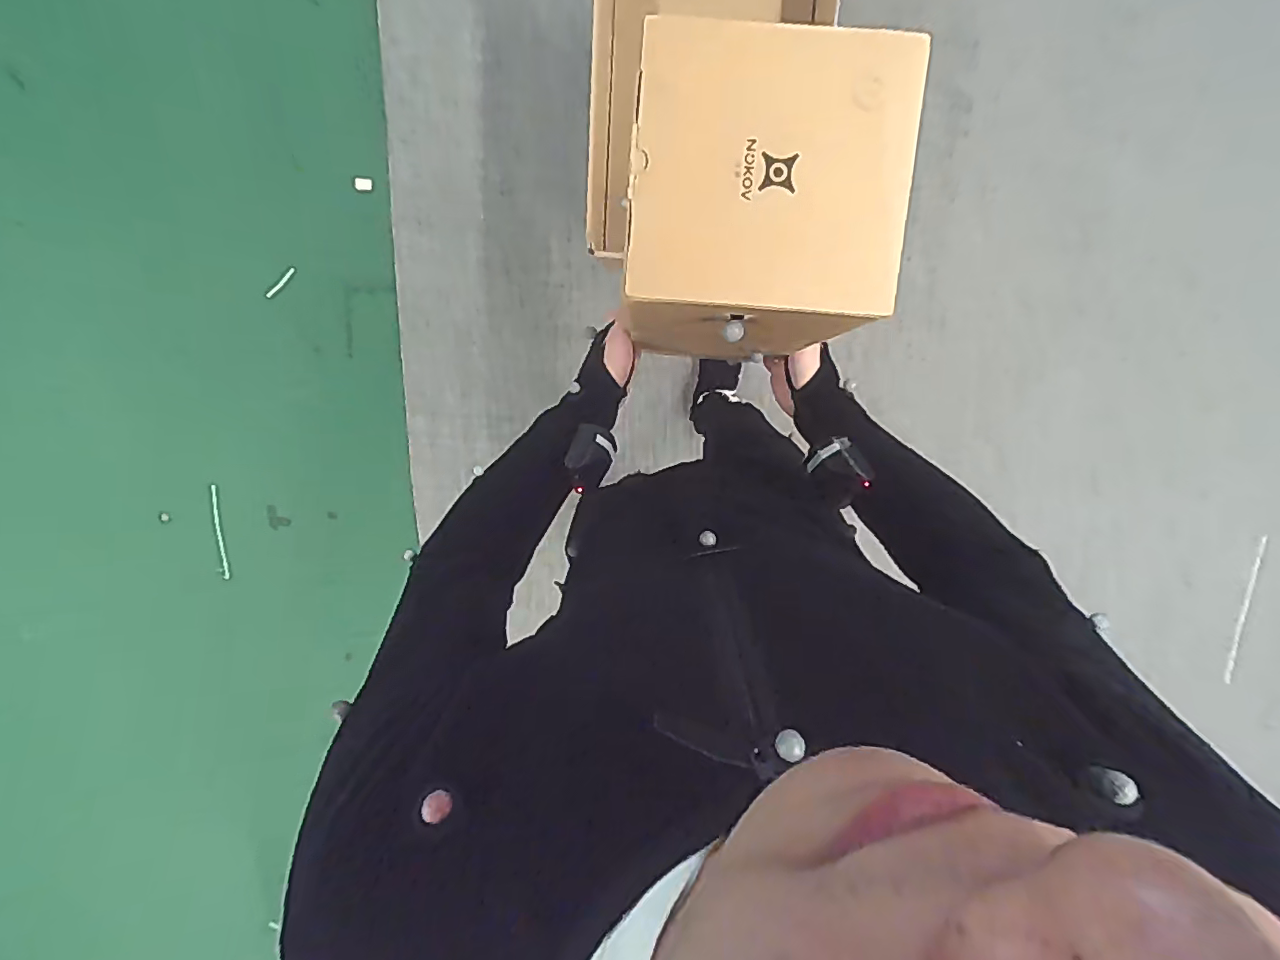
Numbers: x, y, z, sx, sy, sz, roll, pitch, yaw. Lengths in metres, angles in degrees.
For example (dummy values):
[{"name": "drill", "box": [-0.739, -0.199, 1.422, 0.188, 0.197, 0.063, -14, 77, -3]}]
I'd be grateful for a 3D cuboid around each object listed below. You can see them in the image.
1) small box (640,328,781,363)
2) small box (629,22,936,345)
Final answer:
[{"name": "small box", "box": [0.097, -0.255, 0.737, 0.179, 0.176, 0.168, 6, 97, 1]}, {"name": "small box", "box": [0.087, -0.199, 0.415, 0.179, 0.176, 0.168, 5, 98, 1]}]
